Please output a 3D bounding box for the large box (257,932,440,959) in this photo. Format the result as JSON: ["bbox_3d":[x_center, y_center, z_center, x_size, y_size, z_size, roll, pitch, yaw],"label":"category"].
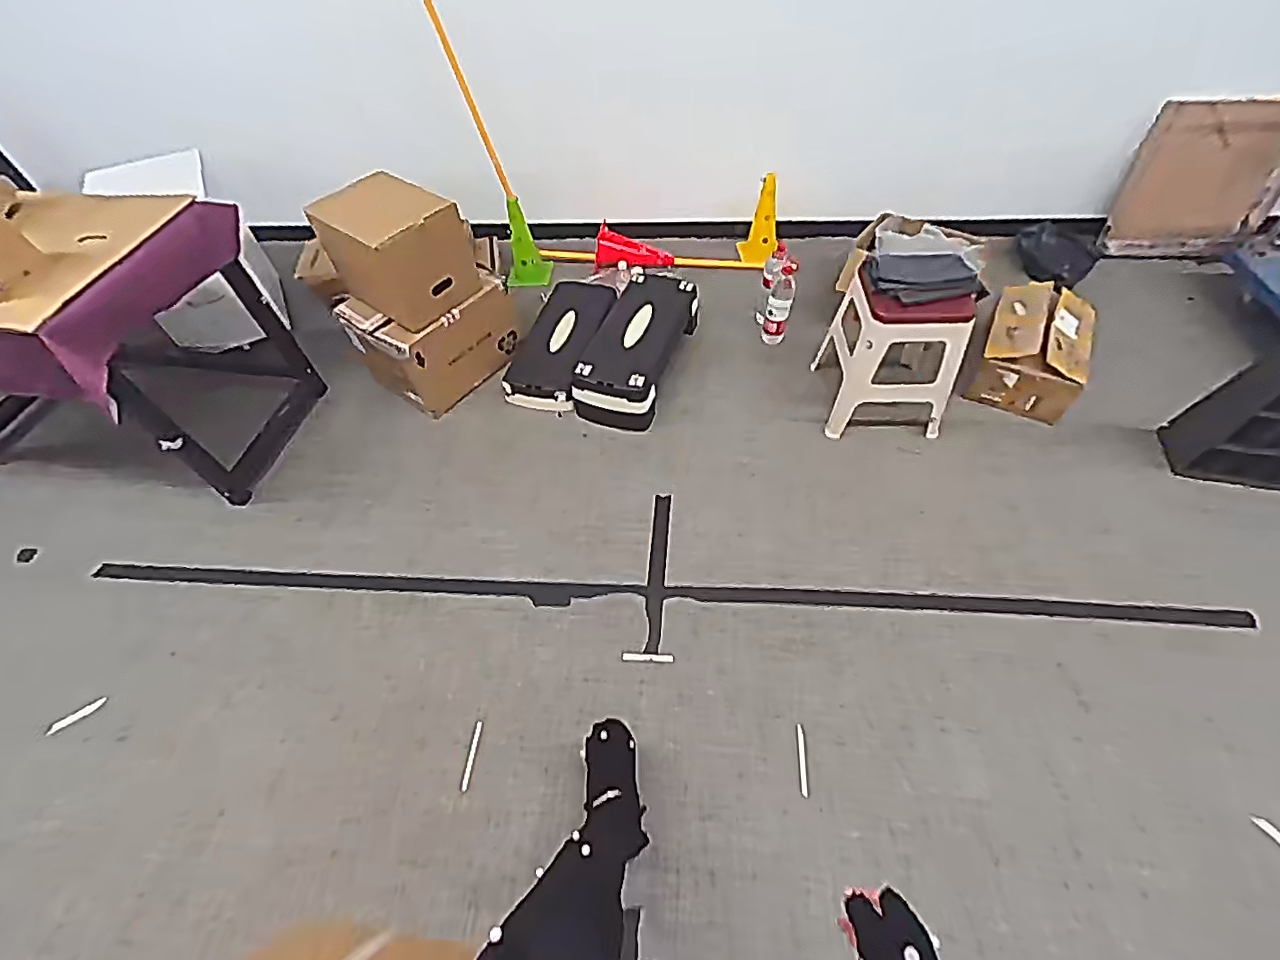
[{"bbox_3d":[-0.432,0.797,0.600,0.320,0.408,0.320,0,70,11],"label":"large box"}]
